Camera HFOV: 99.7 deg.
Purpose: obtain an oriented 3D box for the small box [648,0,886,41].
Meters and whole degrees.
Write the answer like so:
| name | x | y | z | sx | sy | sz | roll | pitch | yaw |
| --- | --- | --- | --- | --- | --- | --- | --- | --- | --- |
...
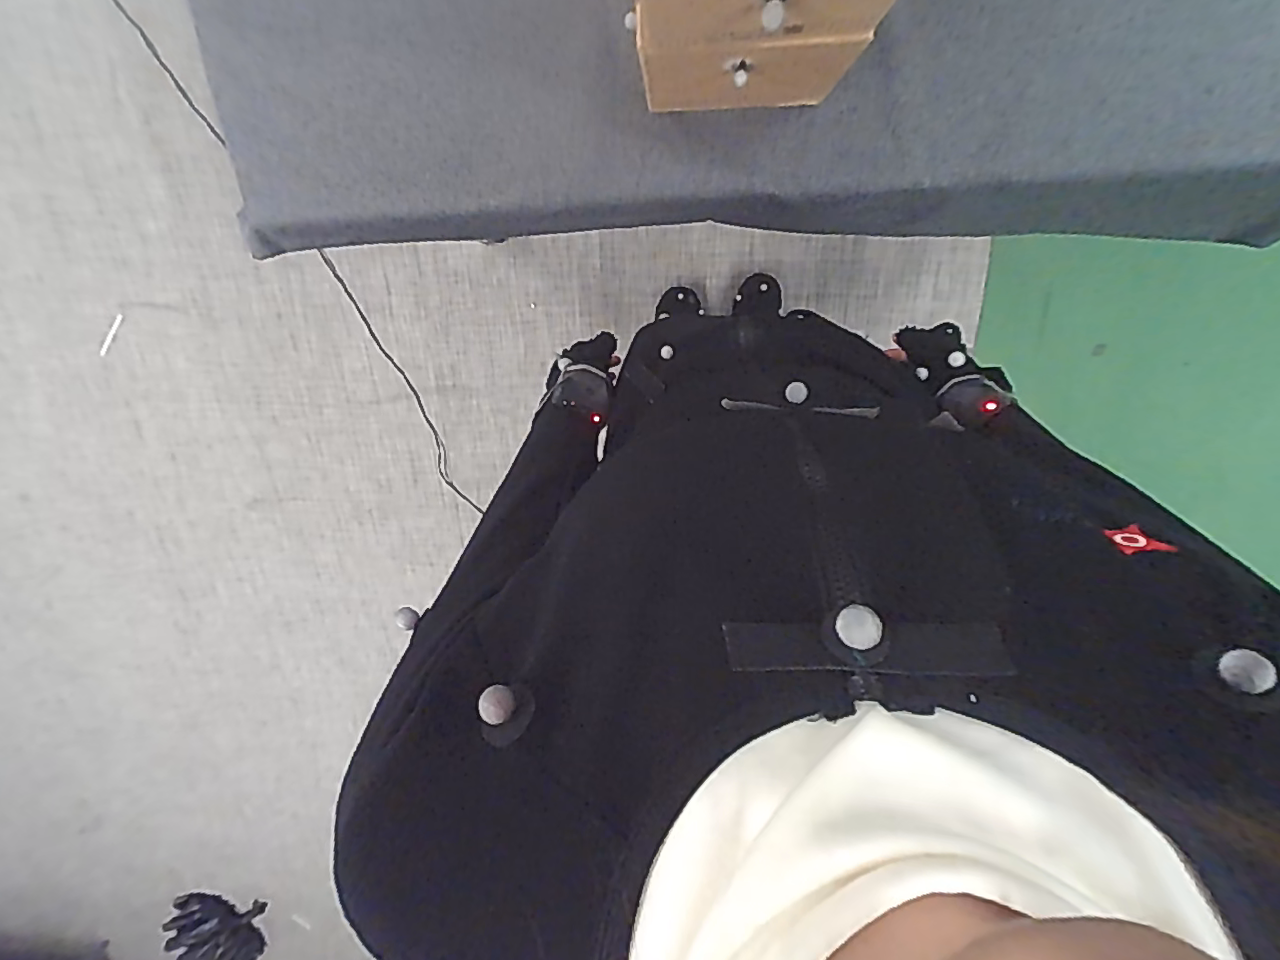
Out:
| name | x | y | z | sx | sy | sz | roll | pitch | yaw |
| --- | --- | --- | --- | --- | --- | --- | --- | --- | --- |
| small box | 0.079 | -0.375 | 0.297 | 0.168 | 0.176 | 0.179 | -2 | 111 | 6 |

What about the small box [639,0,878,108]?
| name | x | y | z | sx | sy | sz | roll | pitch | yaw |
| --- | --- | --- | --- | --- | --- | --- | --- | --- | --- |
| small box | 0.091 | -0.430 | 0.451 | 0.179 | 0.176 | 0.168 | 0 | 111 | 4 |
